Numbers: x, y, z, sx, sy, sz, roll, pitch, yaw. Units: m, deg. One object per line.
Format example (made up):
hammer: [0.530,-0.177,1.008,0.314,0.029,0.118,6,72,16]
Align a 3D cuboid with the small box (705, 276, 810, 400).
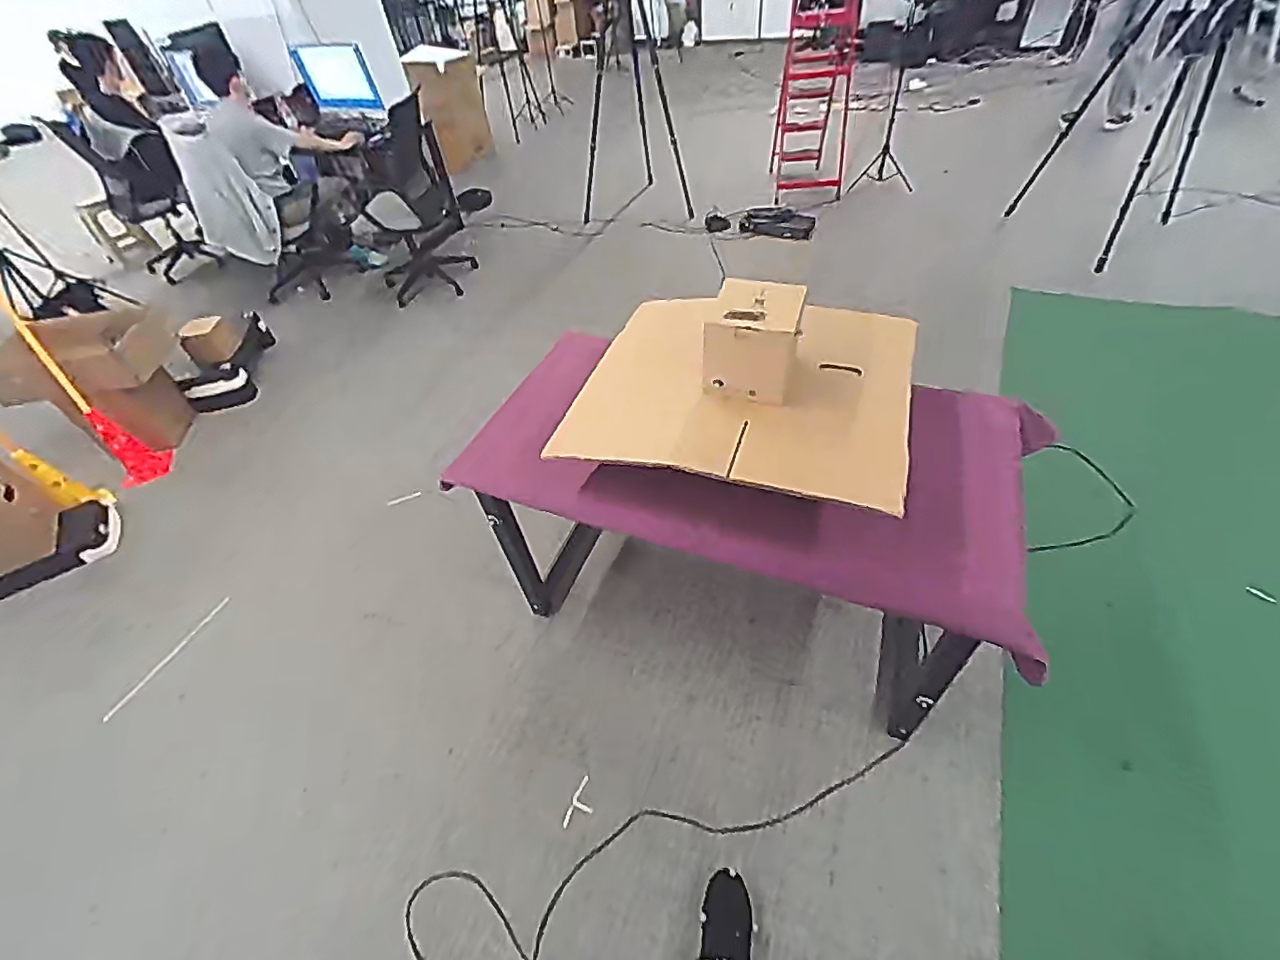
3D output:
small box: [0.233,-0.284,1.087,0.168,0.176,0.179,13,50,16]
